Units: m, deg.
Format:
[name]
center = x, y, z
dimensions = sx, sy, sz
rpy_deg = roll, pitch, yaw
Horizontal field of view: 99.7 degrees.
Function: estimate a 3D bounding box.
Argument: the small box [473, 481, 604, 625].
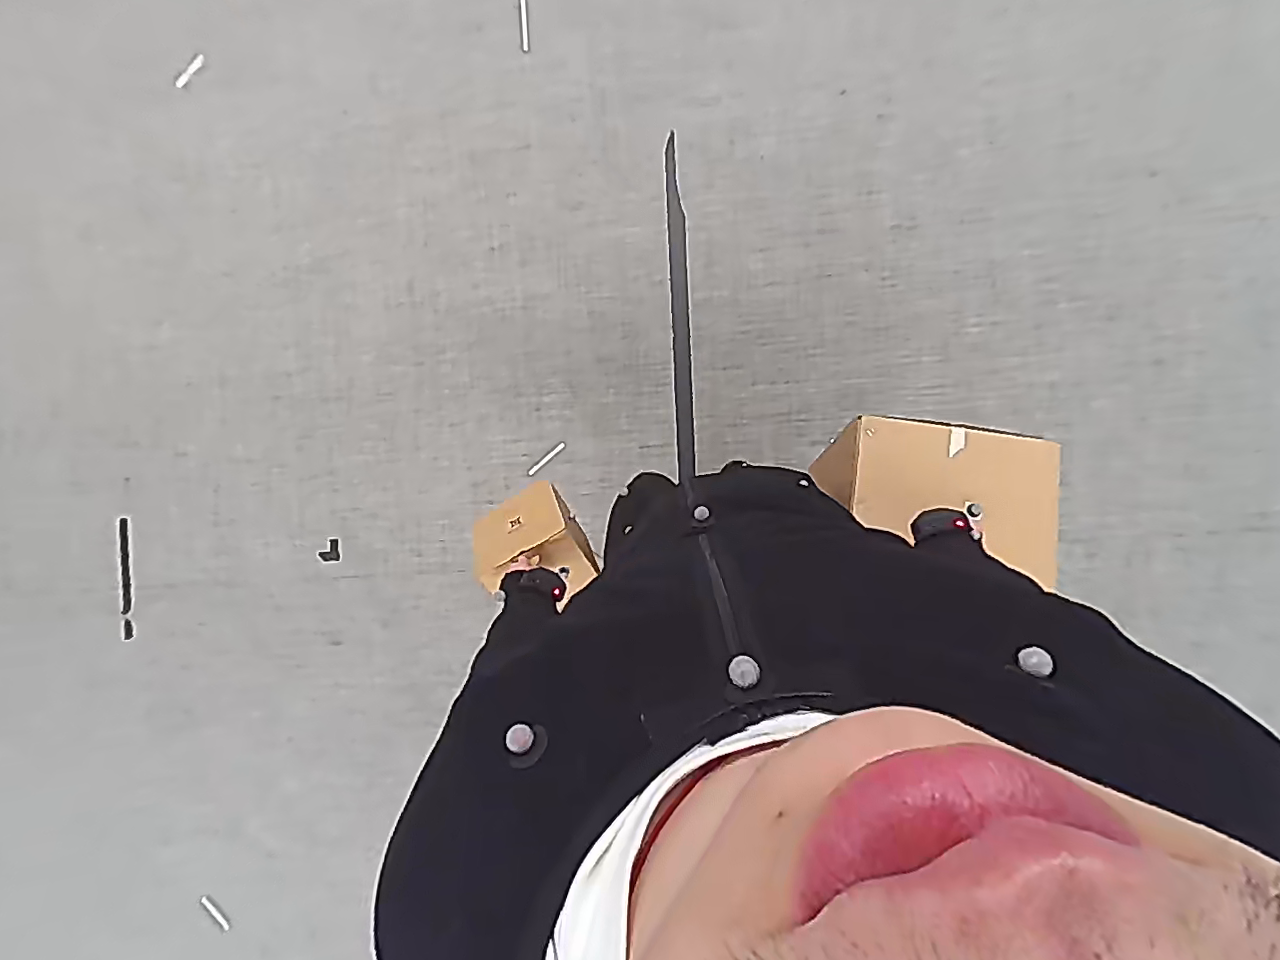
[small box]
center = -0.185, 0.140, 0.995
dimensions = 0.168, 0.179, 0.176
rpy_deg = -29, 125, -3
